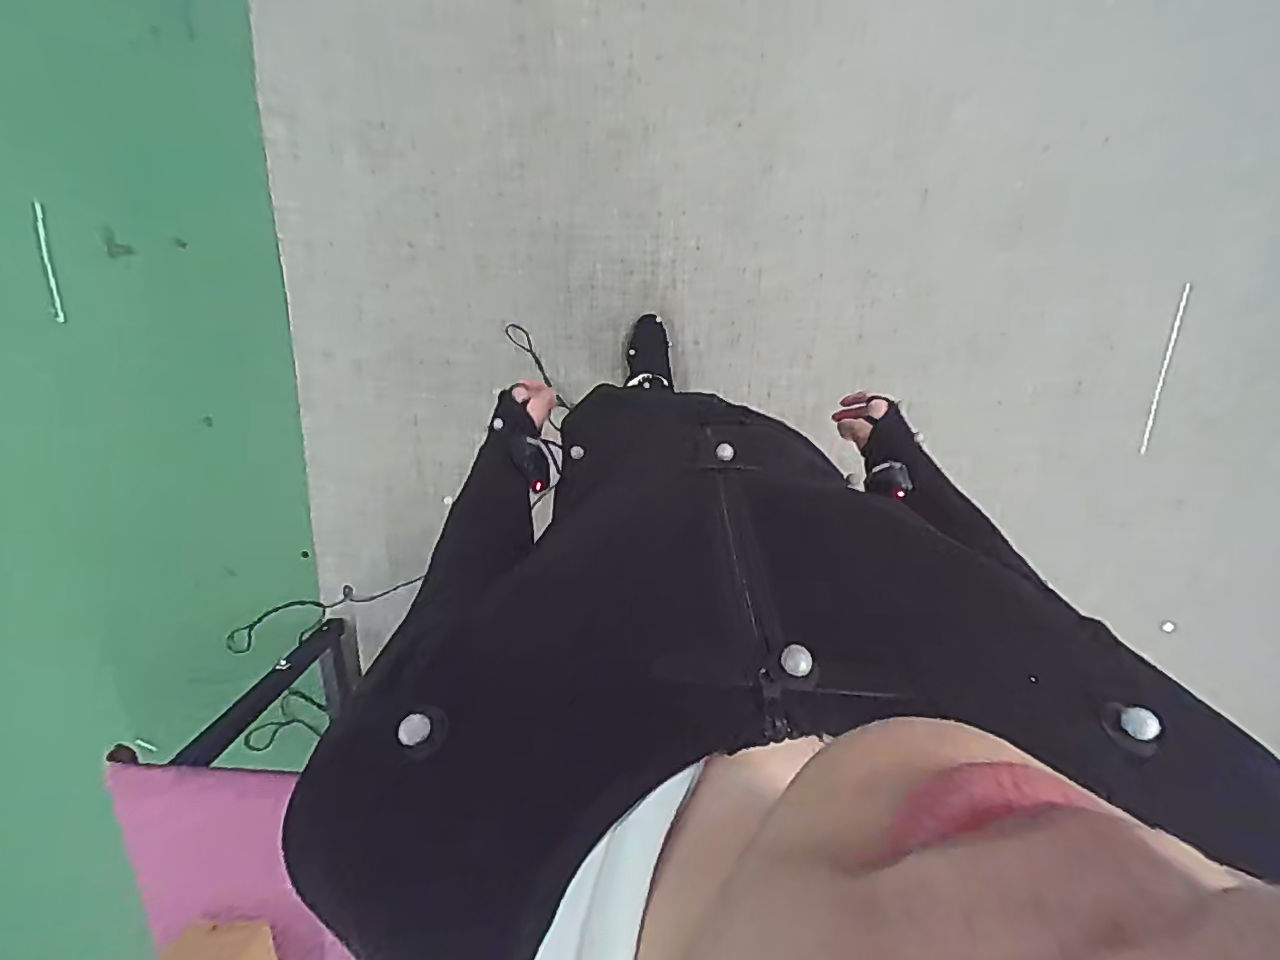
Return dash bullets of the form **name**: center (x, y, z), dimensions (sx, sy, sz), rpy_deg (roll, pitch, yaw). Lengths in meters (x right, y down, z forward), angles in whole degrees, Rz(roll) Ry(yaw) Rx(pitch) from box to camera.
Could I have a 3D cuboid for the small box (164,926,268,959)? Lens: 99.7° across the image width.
- **small box**: center (-0.879, 1.052, 1.087), dimensions (0.168, 0.176, 0.179), rpy_deg (1, 105, 0)
